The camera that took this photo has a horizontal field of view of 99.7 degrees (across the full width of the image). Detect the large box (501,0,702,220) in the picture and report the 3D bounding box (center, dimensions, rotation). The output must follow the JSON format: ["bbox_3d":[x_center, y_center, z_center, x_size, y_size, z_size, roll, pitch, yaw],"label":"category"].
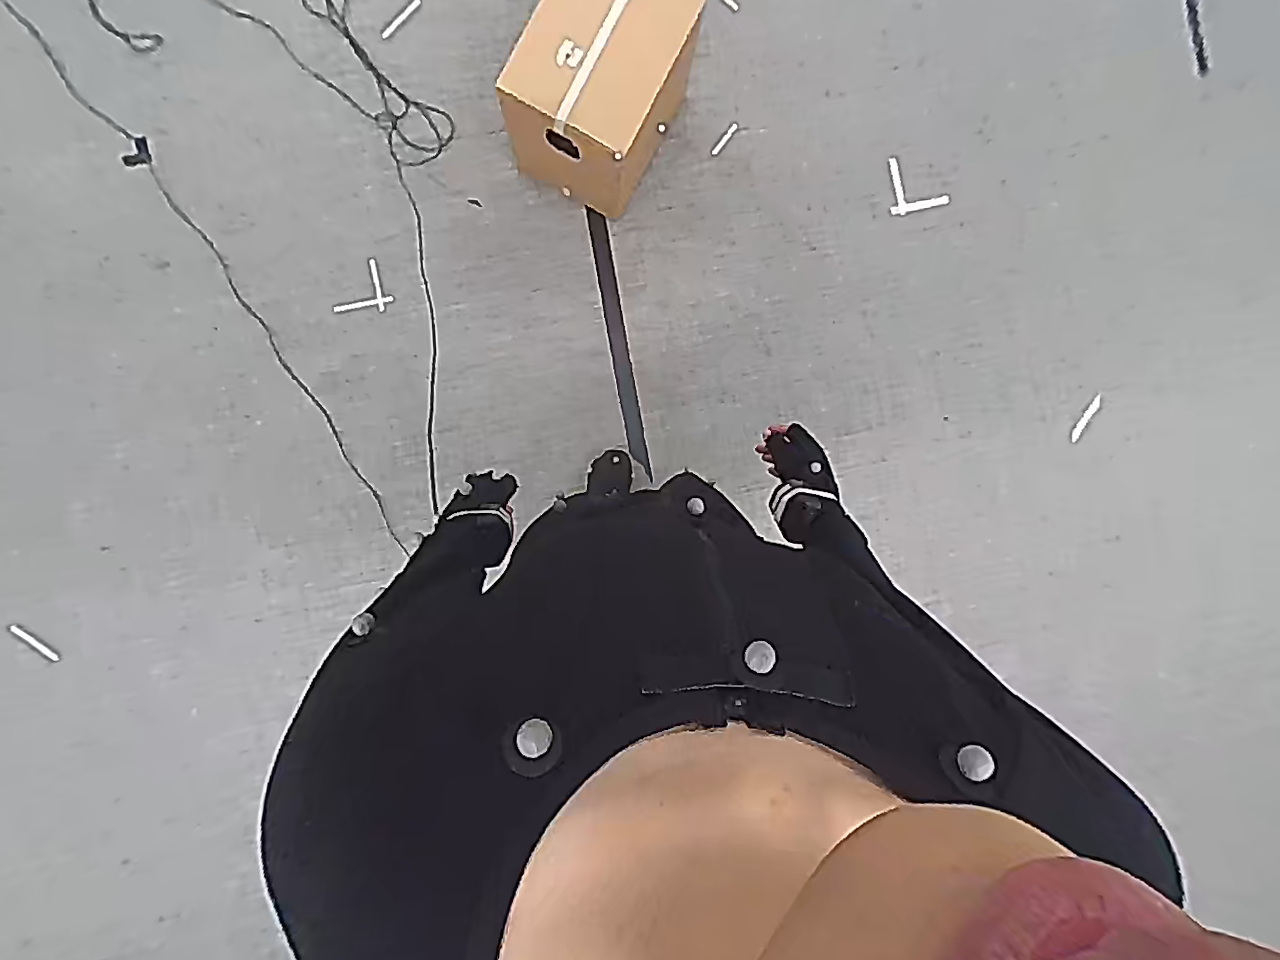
[{"bbox_3d":[-0.093,-0.949,1.326,0.320,0.320,0.408,27,89,-4],"label":"large box"}]
